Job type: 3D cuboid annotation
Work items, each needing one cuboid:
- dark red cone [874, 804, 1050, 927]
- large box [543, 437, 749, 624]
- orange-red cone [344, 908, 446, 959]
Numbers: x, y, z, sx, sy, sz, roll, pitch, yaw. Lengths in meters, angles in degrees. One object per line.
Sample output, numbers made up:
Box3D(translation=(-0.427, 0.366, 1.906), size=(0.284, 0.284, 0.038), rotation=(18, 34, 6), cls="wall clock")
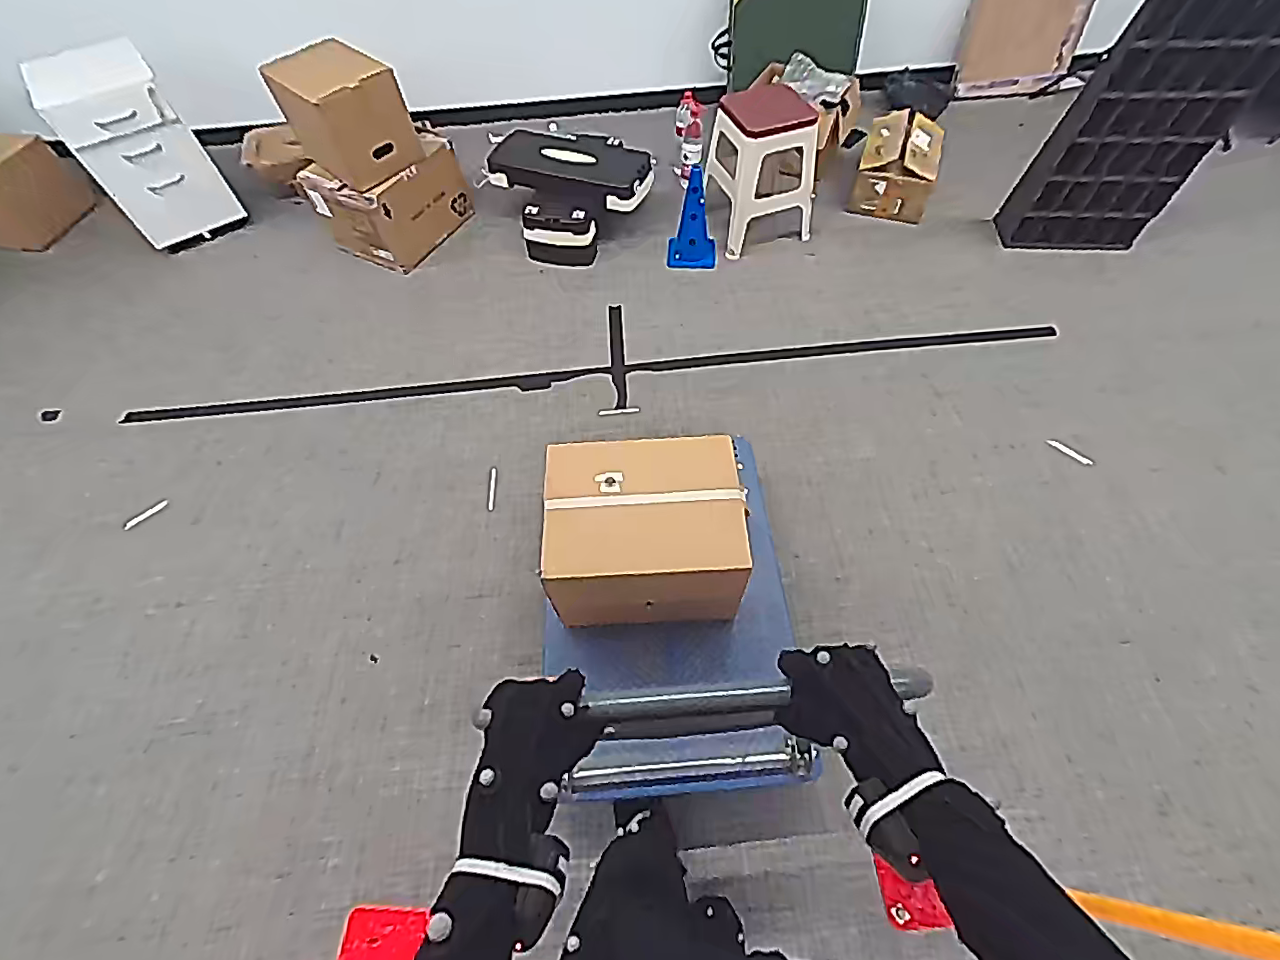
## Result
Box3D(translation=(0.605, 0.710, 0.985), size=(0.201, 0.394, 0.202), rotation=(-4, 58, -2), cls="dark red cone")
Box3D(translation=(0.011, 0.127, 1.235), size=(0.408, 0.320, 0.320), rotation=(-4, 58, 1), cls="large box")
Box3D(translation=(-0.512, 0.900, 0.951), size=(0.198, 0.360, 0.199), rotation=(2, 57, 3), cls="orange-red cone")
